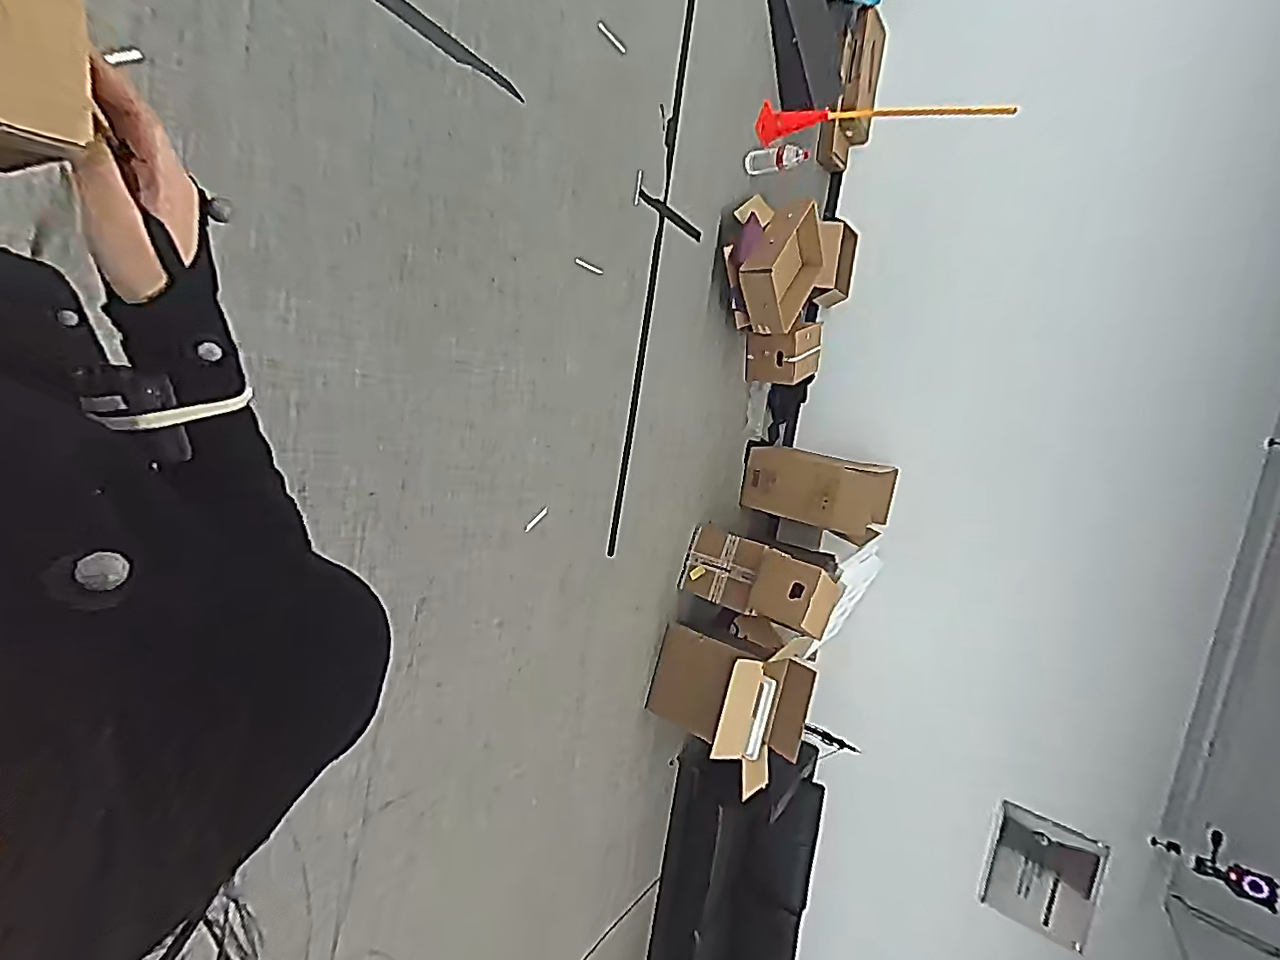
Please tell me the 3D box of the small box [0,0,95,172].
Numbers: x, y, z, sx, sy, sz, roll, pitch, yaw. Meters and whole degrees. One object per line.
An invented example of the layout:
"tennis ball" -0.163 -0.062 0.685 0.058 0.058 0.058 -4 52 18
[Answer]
"small box" -0.369 -0.251 0.228 0.168 0.176 0.179 -10 112 -57
